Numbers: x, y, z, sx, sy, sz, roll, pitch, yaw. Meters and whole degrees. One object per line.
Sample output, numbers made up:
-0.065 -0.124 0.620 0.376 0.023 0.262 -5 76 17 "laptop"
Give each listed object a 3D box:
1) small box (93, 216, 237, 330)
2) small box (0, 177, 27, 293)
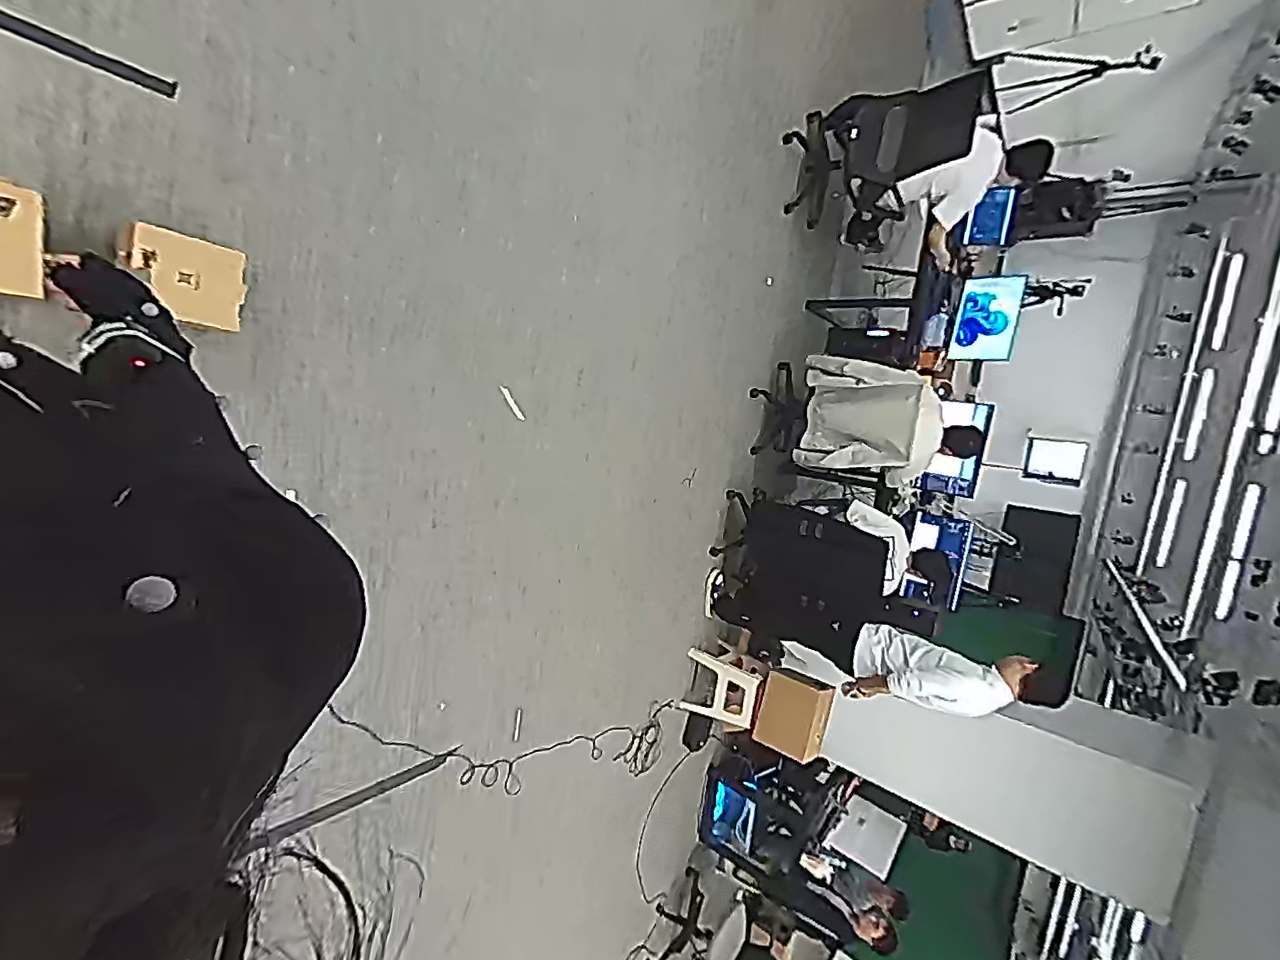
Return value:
-0.961 -0.412 1.096 0.179 0.176 0.168 4 97 -55 "small box"
-1.125 -0.411 0.873 0.168 0.176 0.179 -2 103 -53 "small box"
